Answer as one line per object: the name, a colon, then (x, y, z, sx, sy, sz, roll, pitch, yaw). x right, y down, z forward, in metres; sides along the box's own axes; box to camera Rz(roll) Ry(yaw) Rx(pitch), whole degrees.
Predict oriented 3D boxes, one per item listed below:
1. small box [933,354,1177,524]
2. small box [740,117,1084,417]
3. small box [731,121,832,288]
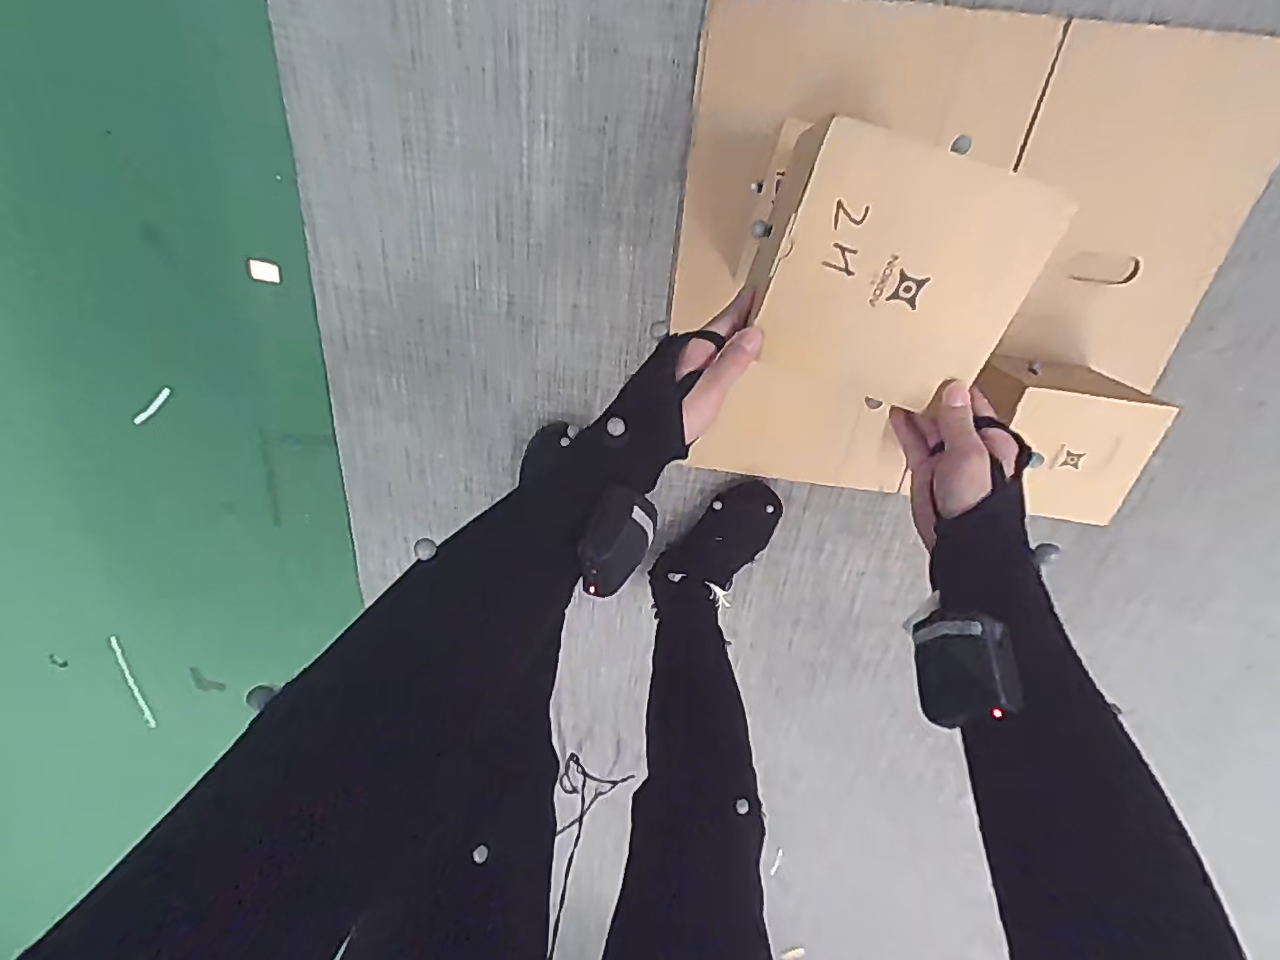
small box: (0.533, -0.064, 0.732, 0.179, 0.176, 0.168, 9, 118, 2)
small box: (0.195, -0.179, 0.455, 0.179, 0.176, 0.168, 17, 119, -2)
small box: (0.218, -0.302, 0.643, 0.179, 0.176, 0.168, 15, 118, -2)
